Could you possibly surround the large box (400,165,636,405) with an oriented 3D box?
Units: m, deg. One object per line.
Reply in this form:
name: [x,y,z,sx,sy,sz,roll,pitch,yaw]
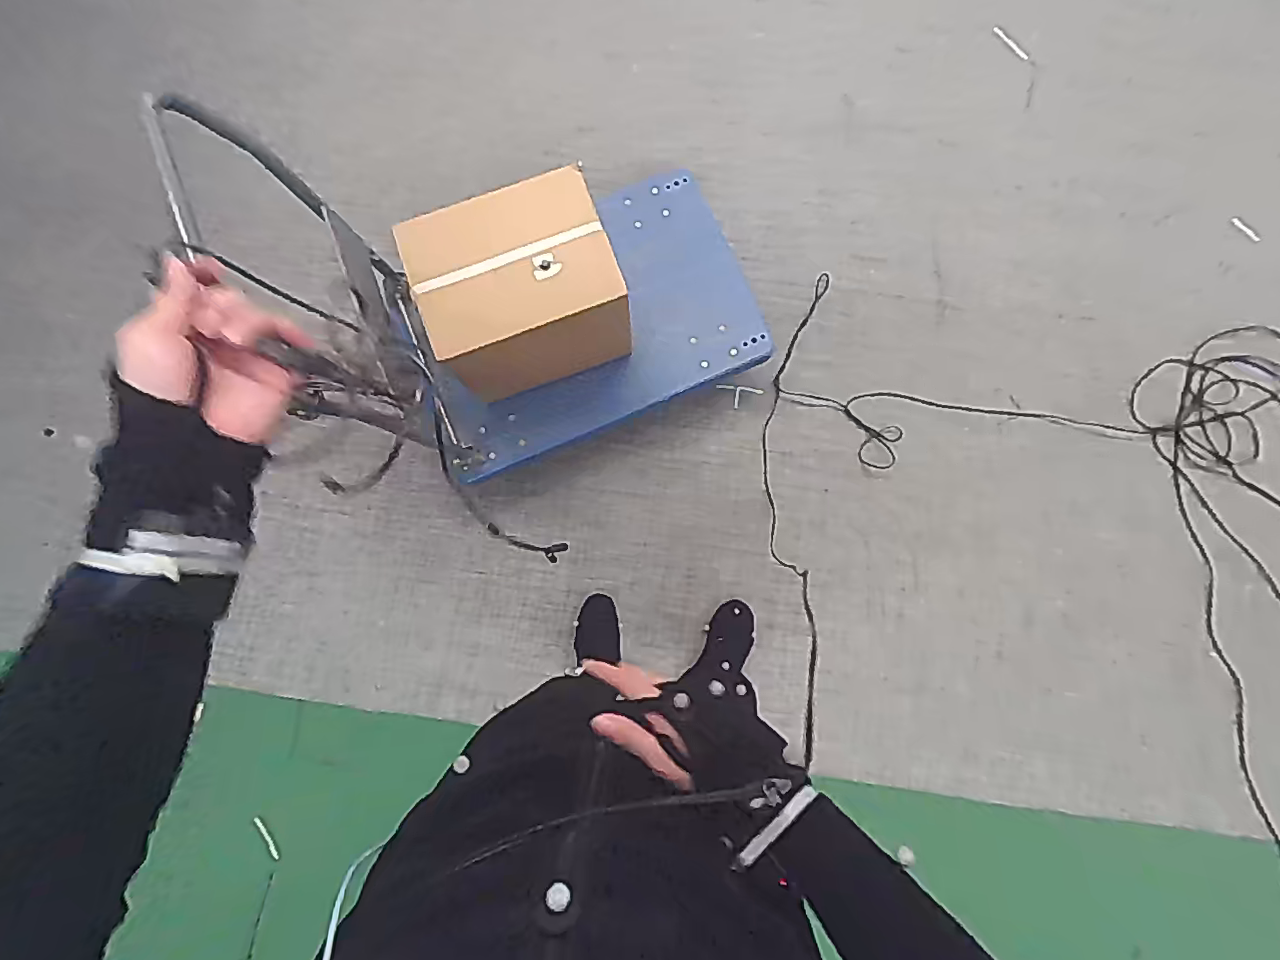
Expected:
large box: [-0.248,-0.413,1.222,0.408,0.320,0.320,-20,82,-3]
